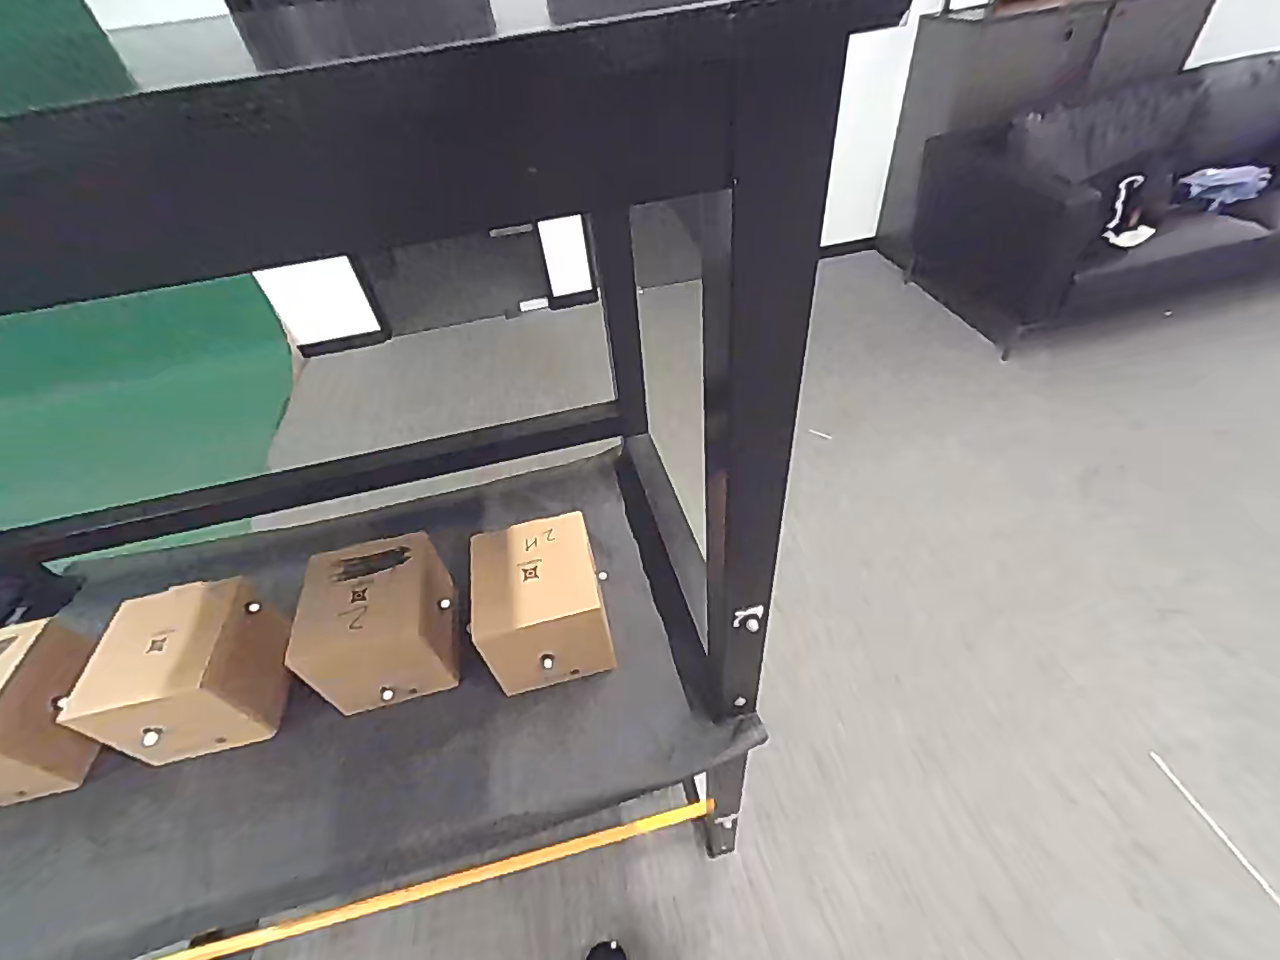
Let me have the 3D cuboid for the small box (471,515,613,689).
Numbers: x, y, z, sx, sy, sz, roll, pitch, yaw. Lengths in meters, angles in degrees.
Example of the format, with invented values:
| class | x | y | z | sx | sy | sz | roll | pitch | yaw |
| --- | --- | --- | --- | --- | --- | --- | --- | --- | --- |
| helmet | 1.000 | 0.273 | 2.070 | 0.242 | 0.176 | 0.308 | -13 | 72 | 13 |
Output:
| class | x | y | z | sx | sy | sz | roll | pitch | yaw |
| --- | --- | --- | --- | --- | --- | --- | --- | --- | --- |
| small box | -0.141 | 0.184 | 0.793 | 0.168 | 0.176 | 0.179 | -13 | 44 | -6 |

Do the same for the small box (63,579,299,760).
| class | x | y | z | sx | sy | sz | roll | pitch | yaw |
| --- | --- | --- | --- | --- | --- | --- | --- | --- | --- |
| small box | -0.623 | 0.274 | 0.767 | 0.168 | 0.176 | 0.179 | -12 | 44 | -5 |

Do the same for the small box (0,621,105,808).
| class | x | y | z | sx | sy | sz | roll | pitch | yaw |
| --- | --- | --- | --- | --- | --- | --- | --- | --- | --- |
| small box | -0.869 | 0.326 | 0.741 | 0.168 | 0.176 | 0.179 | -12 | 45 | -5 |
